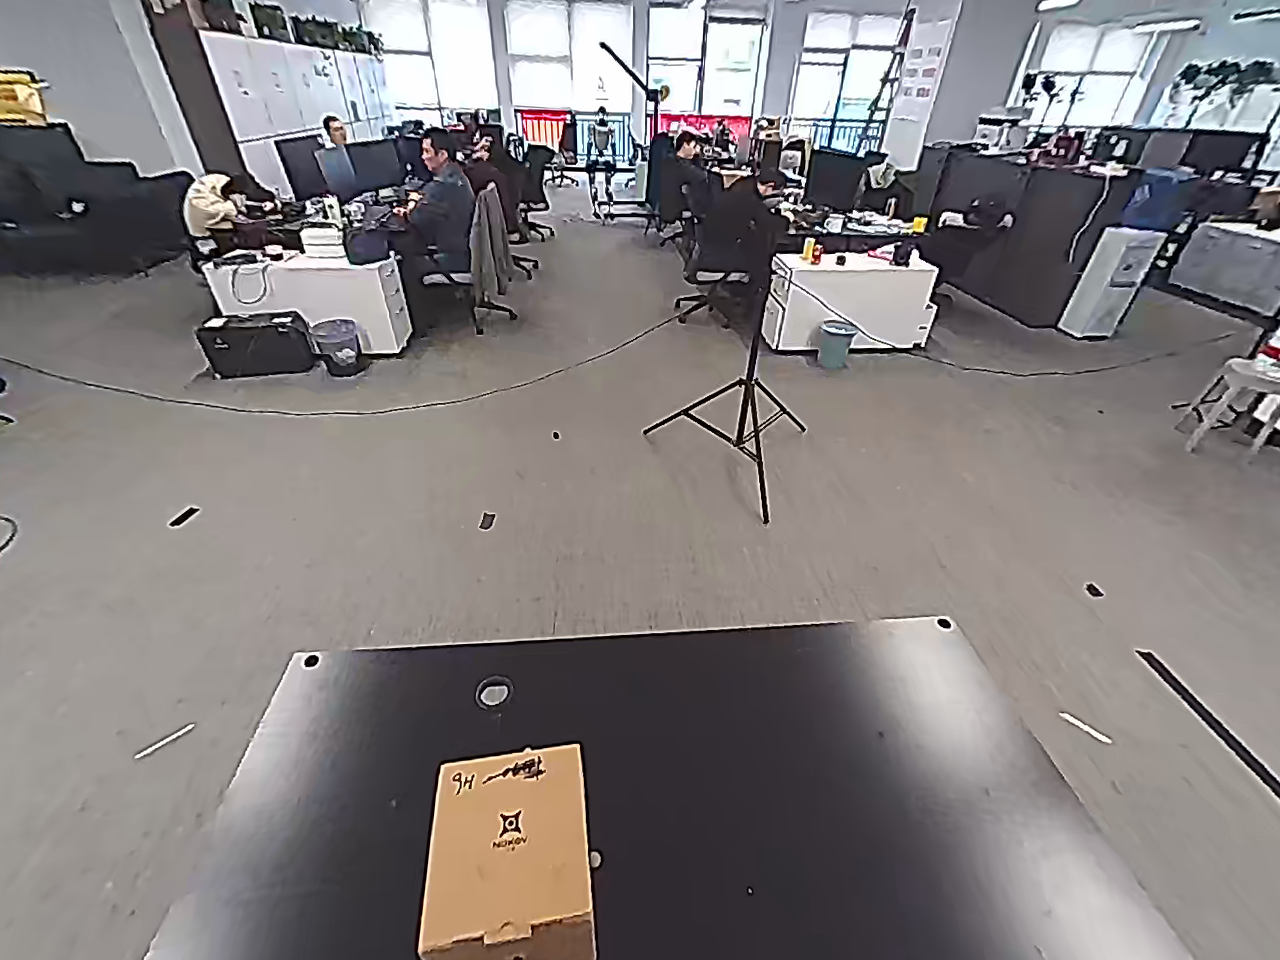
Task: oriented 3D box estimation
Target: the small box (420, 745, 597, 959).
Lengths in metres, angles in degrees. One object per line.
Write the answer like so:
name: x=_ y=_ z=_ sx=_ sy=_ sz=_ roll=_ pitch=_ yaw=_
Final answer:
small box: x=-0.141 y=0.447 z=0.631 sx=0.168 sy=0.176 sz=0.179 roll=-5 pitch=36 yaw=-8
